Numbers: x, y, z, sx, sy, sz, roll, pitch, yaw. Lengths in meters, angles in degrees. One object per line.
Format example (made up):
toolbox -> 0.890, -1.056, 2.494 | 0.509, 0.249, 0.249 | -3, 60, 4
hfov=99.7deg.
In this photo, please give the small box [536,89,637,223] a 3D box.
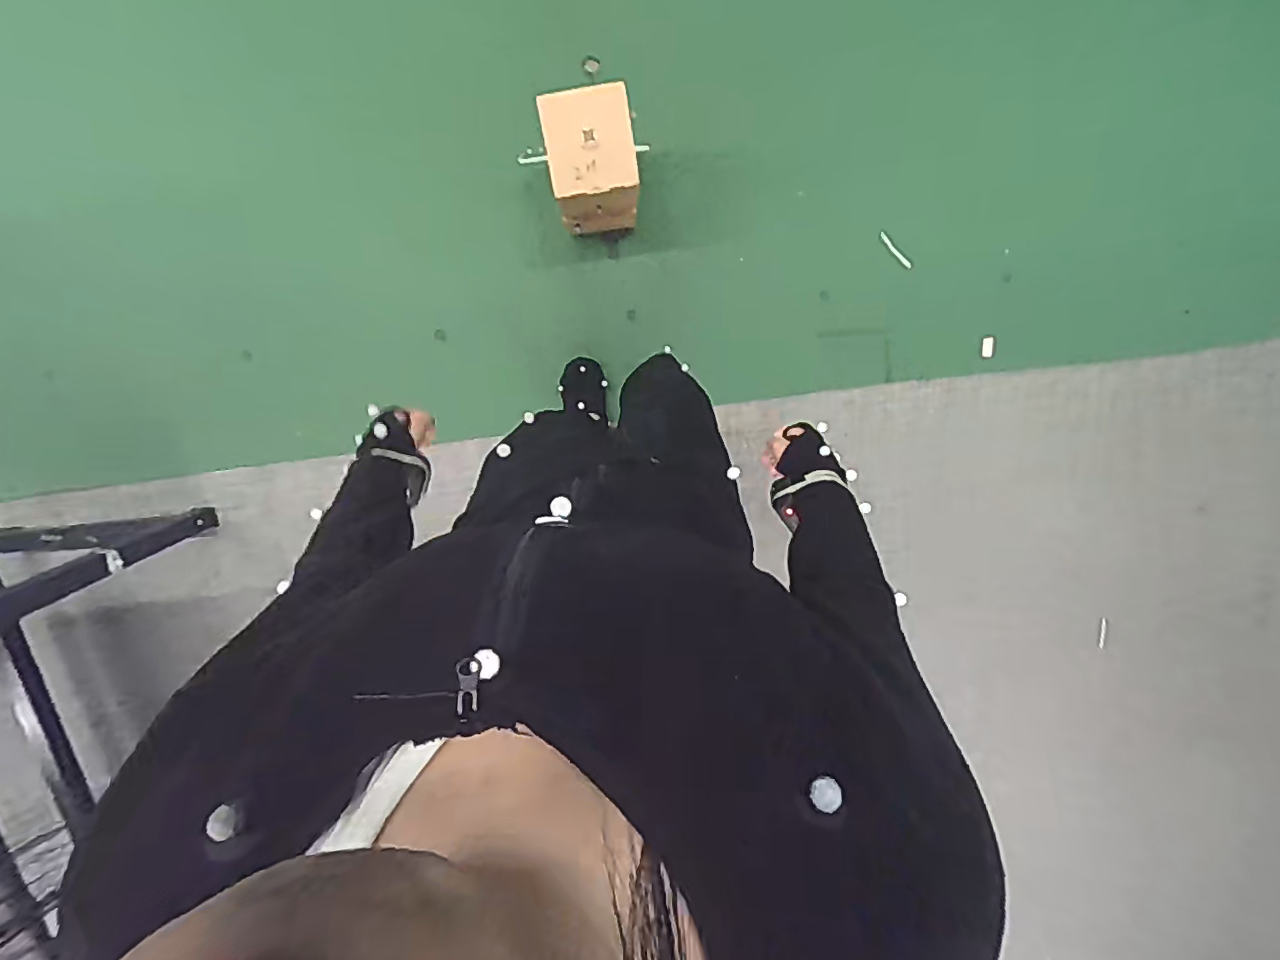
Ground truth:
small box -> -0.103, -0.640, 1.087 | 0.168, 0.176, 0.179 | -10, 104, 0
